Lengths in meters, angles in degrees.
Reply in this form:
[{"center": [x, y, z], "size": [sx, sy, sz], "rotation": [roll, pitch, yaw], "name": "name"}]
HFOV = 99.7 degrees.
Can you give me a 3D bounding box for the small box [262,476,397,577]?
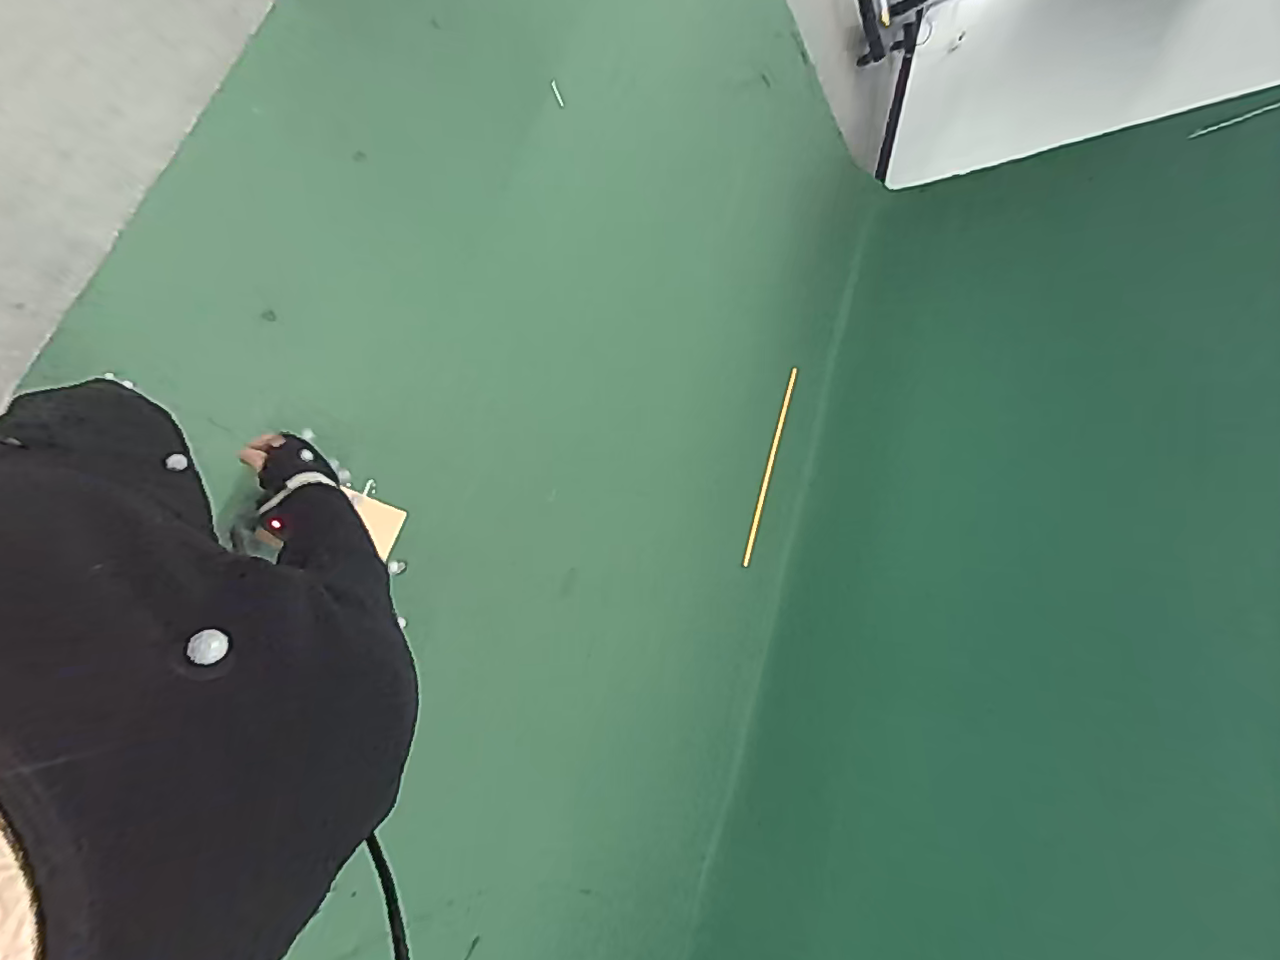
[{"center": [-0.684, 0.098, 1.192], "size": [0.179, 0.176, 0.168], "rotation": [35, 68, -45], "name": "small box"}]
